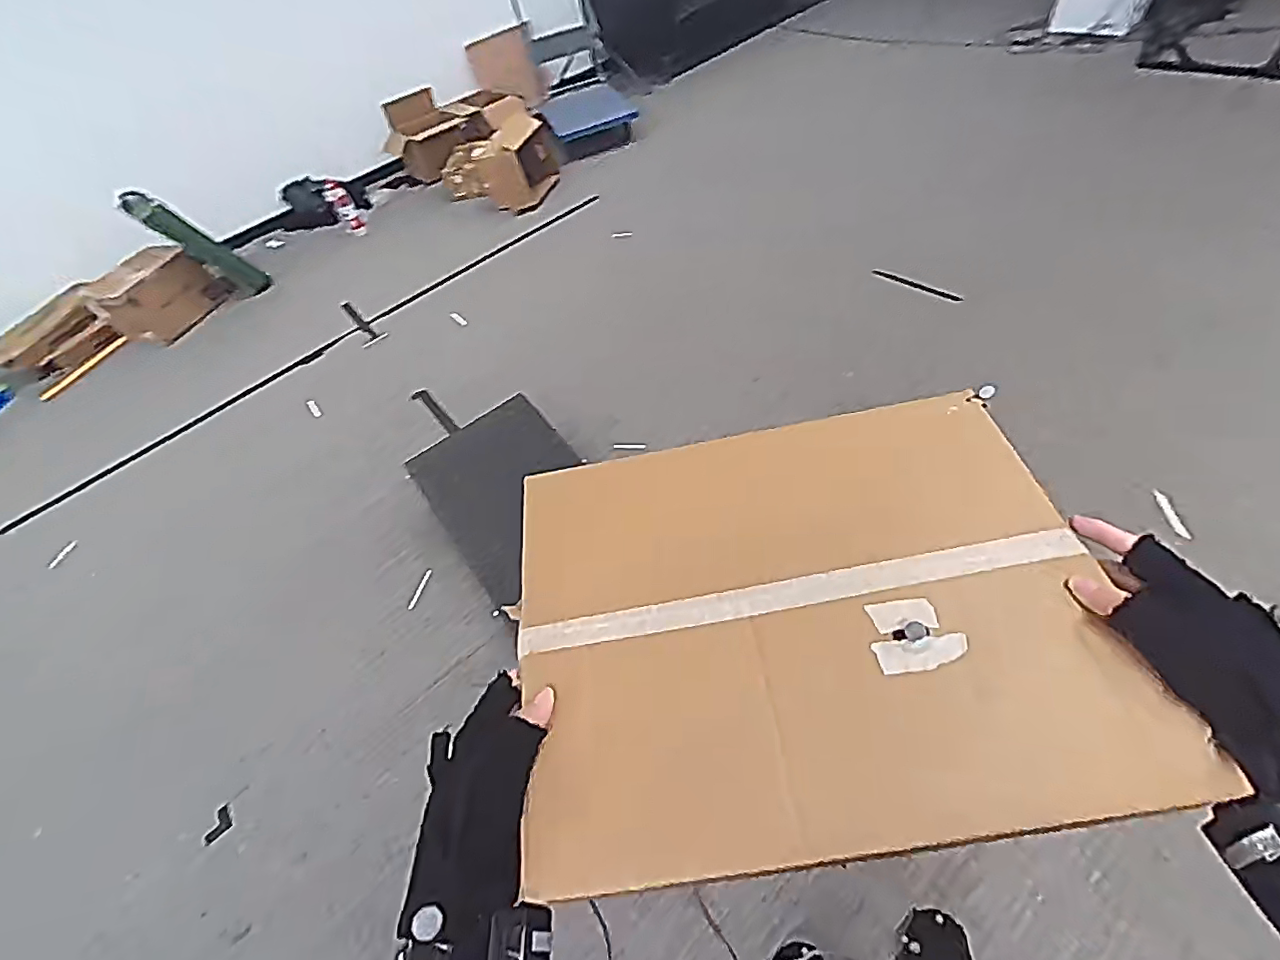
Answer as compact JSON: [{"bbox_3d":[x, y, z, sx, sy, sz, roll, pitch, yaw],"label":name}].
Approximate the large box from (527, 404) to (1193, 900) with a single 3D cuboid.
[{"bbox_3d":[0.131,0.178,0.527,0.408,0.320,0.320,-12,54,2],"label":"large box"}]
